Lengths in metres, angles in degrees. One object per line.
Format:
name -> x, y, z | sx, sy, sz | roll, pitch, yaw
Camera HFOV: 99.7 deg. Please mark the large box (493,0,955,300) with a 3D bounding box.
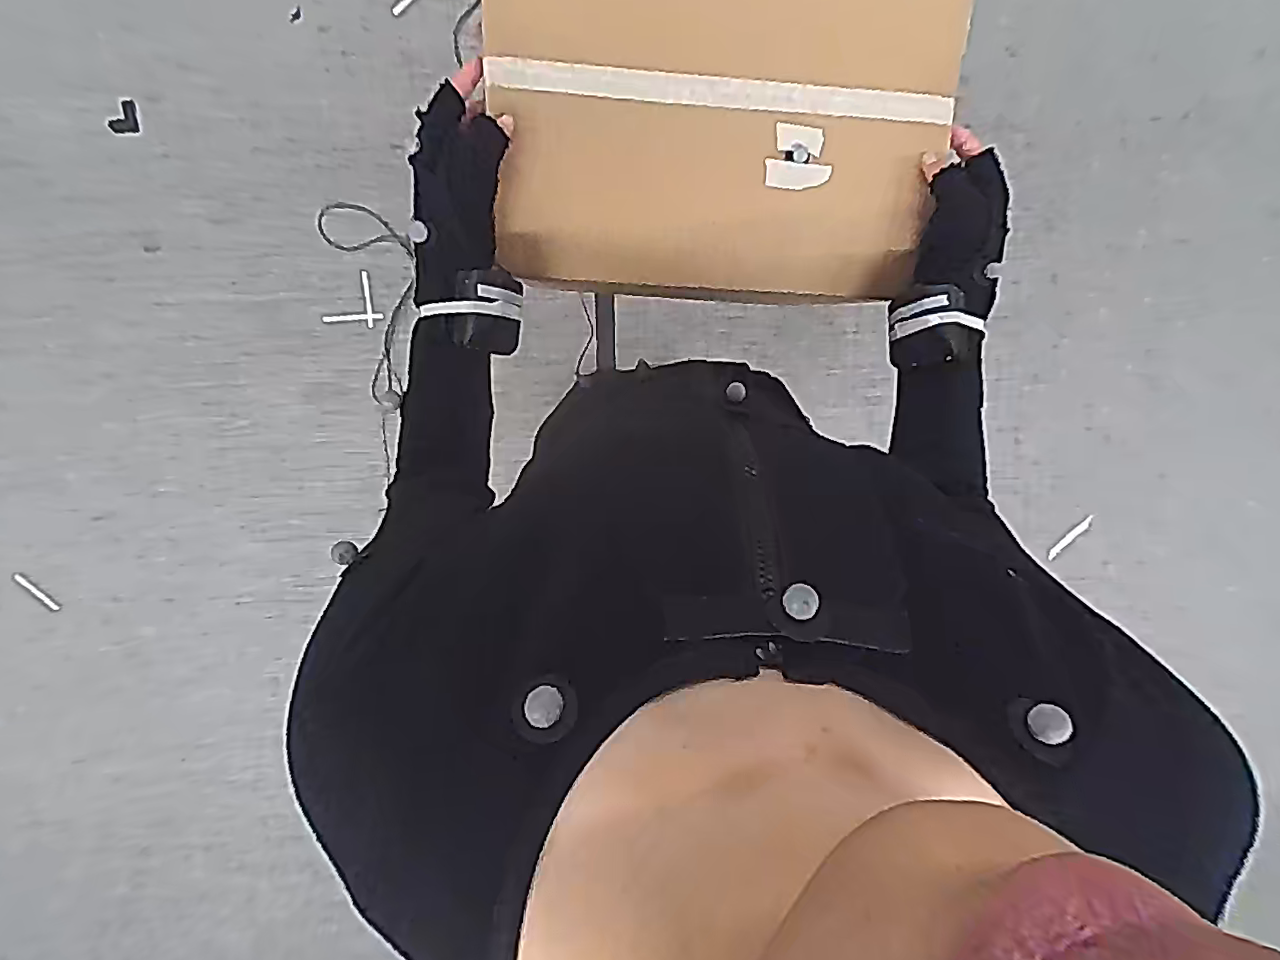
large box -> 0.059, -0.380, 0.619 | 0.408, 0.320, 0.320 | 1, 107, -6
